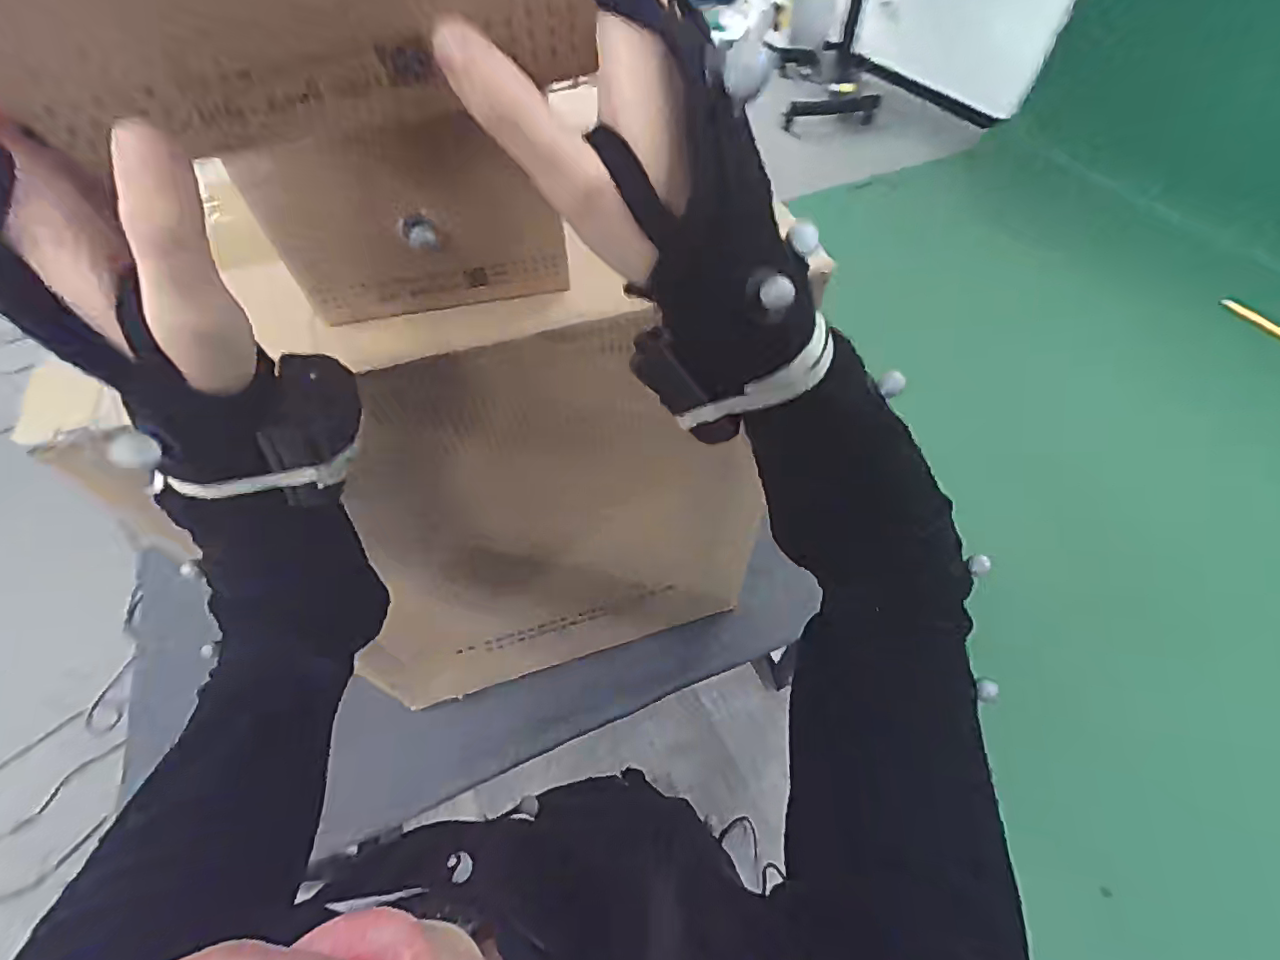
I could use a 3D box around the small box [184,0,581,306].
[{"bbox_3d":[-0.137,-0.241,0.347,0.168,0.176,0.179,-12,58,-8],"label":"small box"}]
